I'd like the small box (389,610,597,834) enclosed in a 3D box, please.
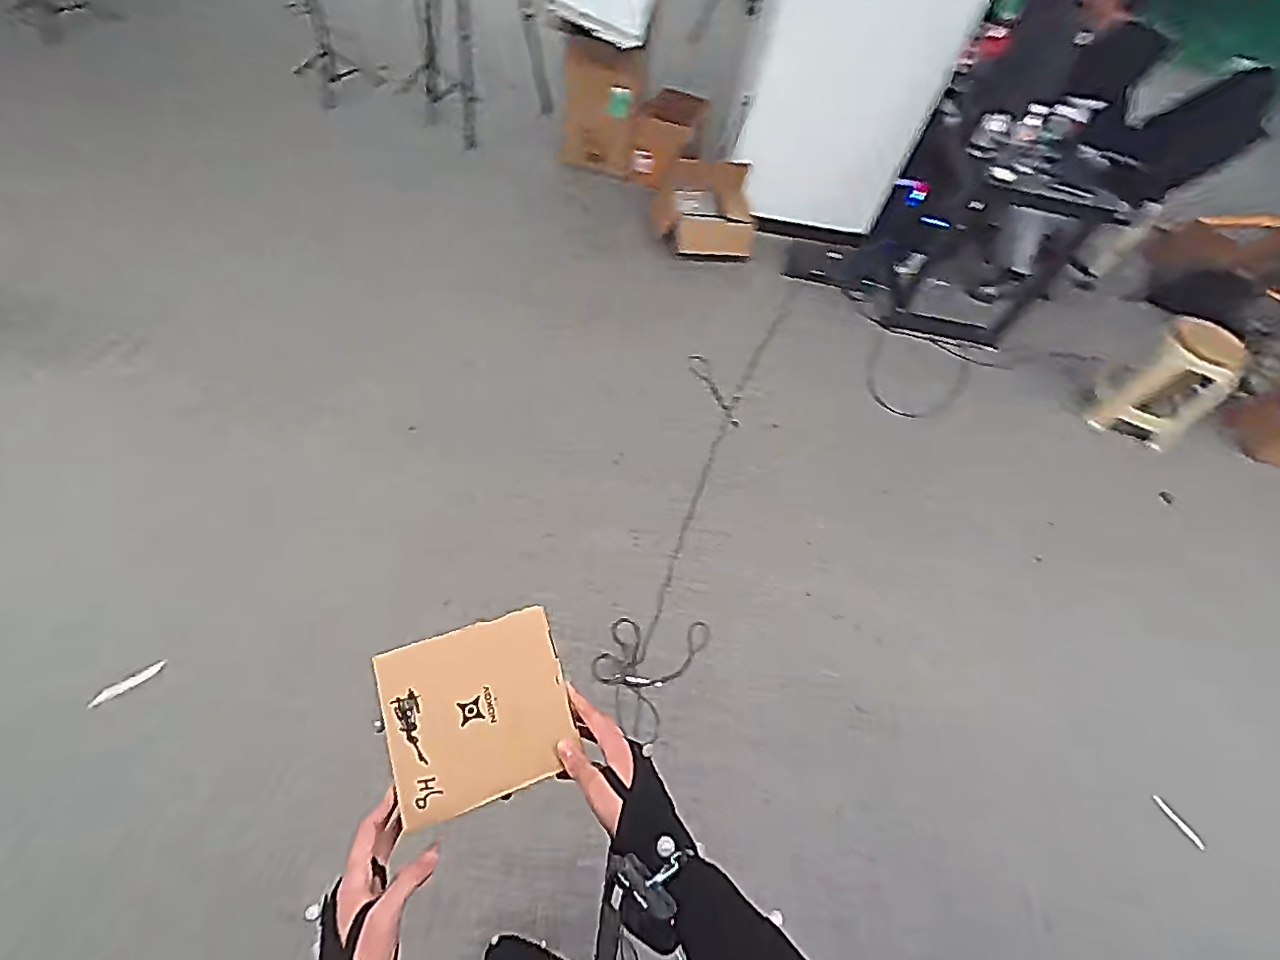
[{"bbox_3d":[-0.163,0.259,0.607,0.179,0.176,0.168,-13,70,-18],"label":"small box"}]
